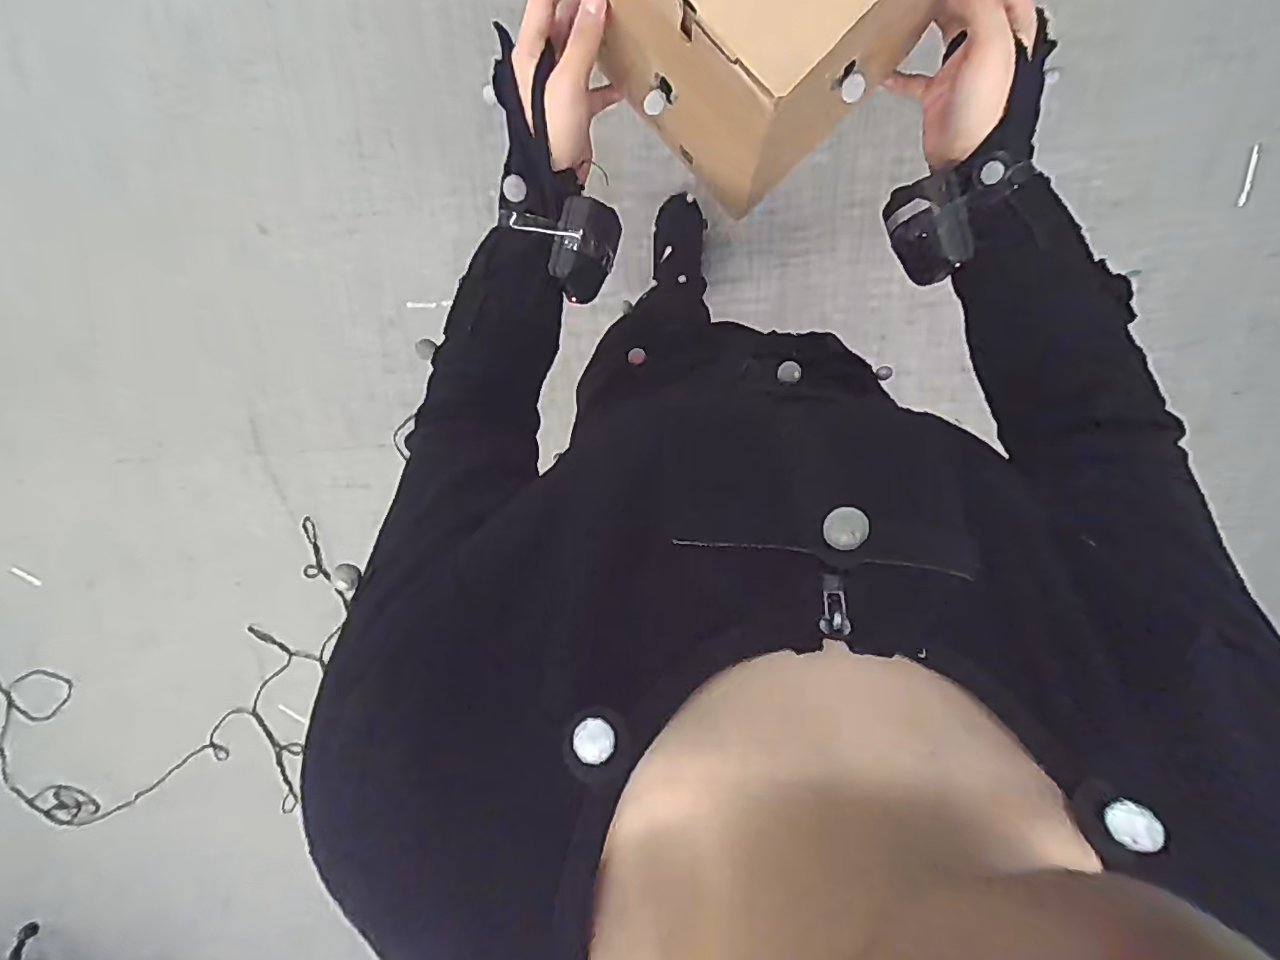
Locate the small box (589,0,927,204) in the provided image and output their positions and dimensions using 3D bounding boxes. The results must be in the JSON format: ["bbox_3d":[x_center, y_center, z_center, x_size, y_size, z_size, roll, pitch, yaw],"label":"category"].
[{"bbox_3d":[0.077,-0.317,0.339,0.179,0.176,0.168,-43,91,8],"label":"small box"}]
